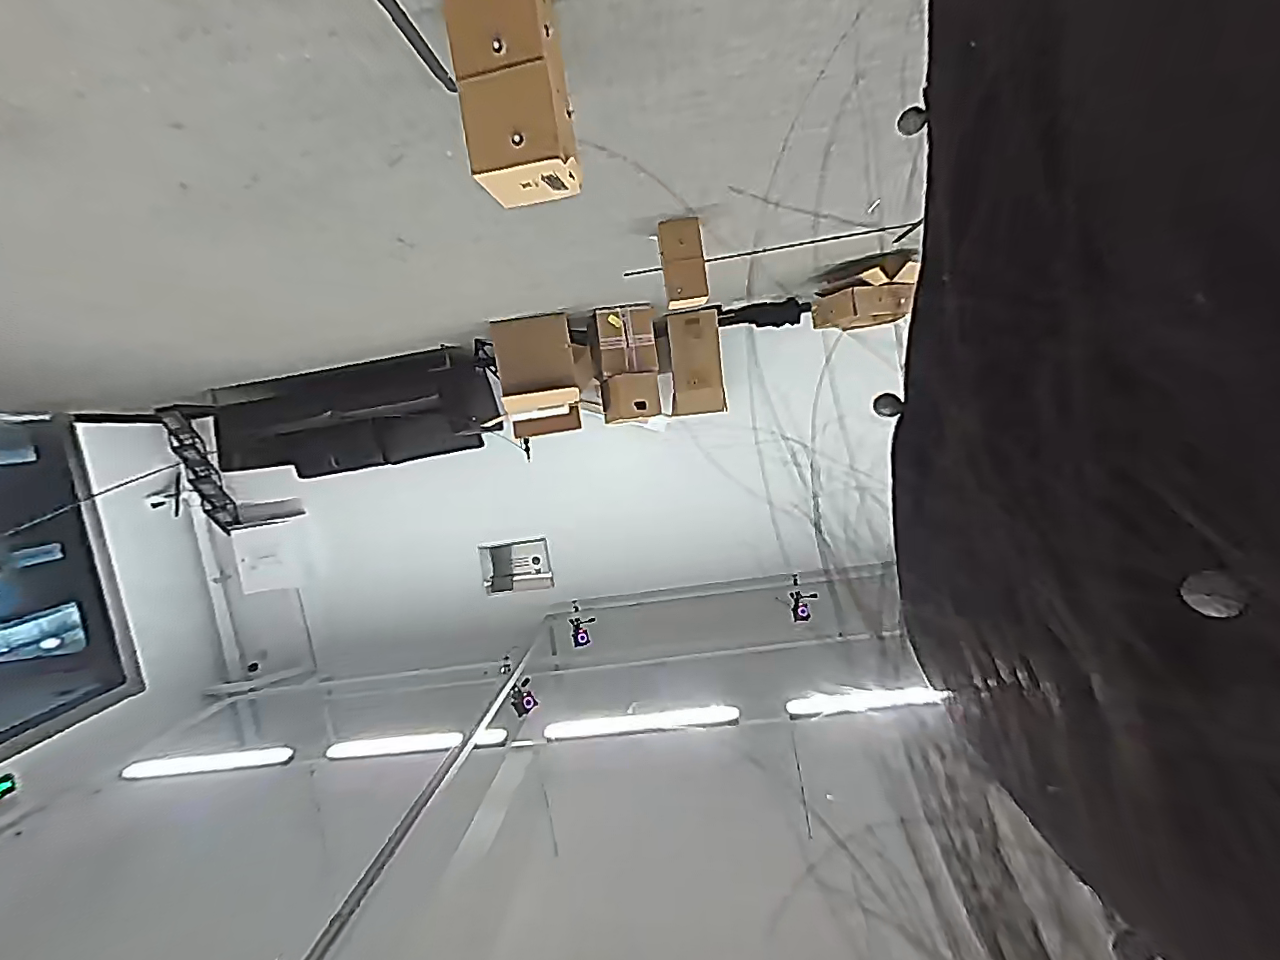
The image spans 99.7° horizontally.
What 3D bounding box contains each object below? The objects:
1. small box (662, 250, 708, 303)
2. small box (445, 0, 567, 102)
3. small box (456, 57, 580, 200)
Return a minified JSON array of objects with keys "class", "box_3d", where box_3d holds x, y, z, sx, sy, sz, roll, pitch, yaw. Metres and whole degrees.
[{"class":"small box","box_3d":[0.193,-0.896,2.387,0.179,0.176,0.168,-9,-173,2]},{"class":"small box","box_3d":[-0.256,-0.838,1.036,0.179,0.176,0.168,-6,-174,10]},{"class":"small box","box_3d":[-0.232,-0.675,1.050,0.179,0.176,0.168,-7,-174,9]}]
